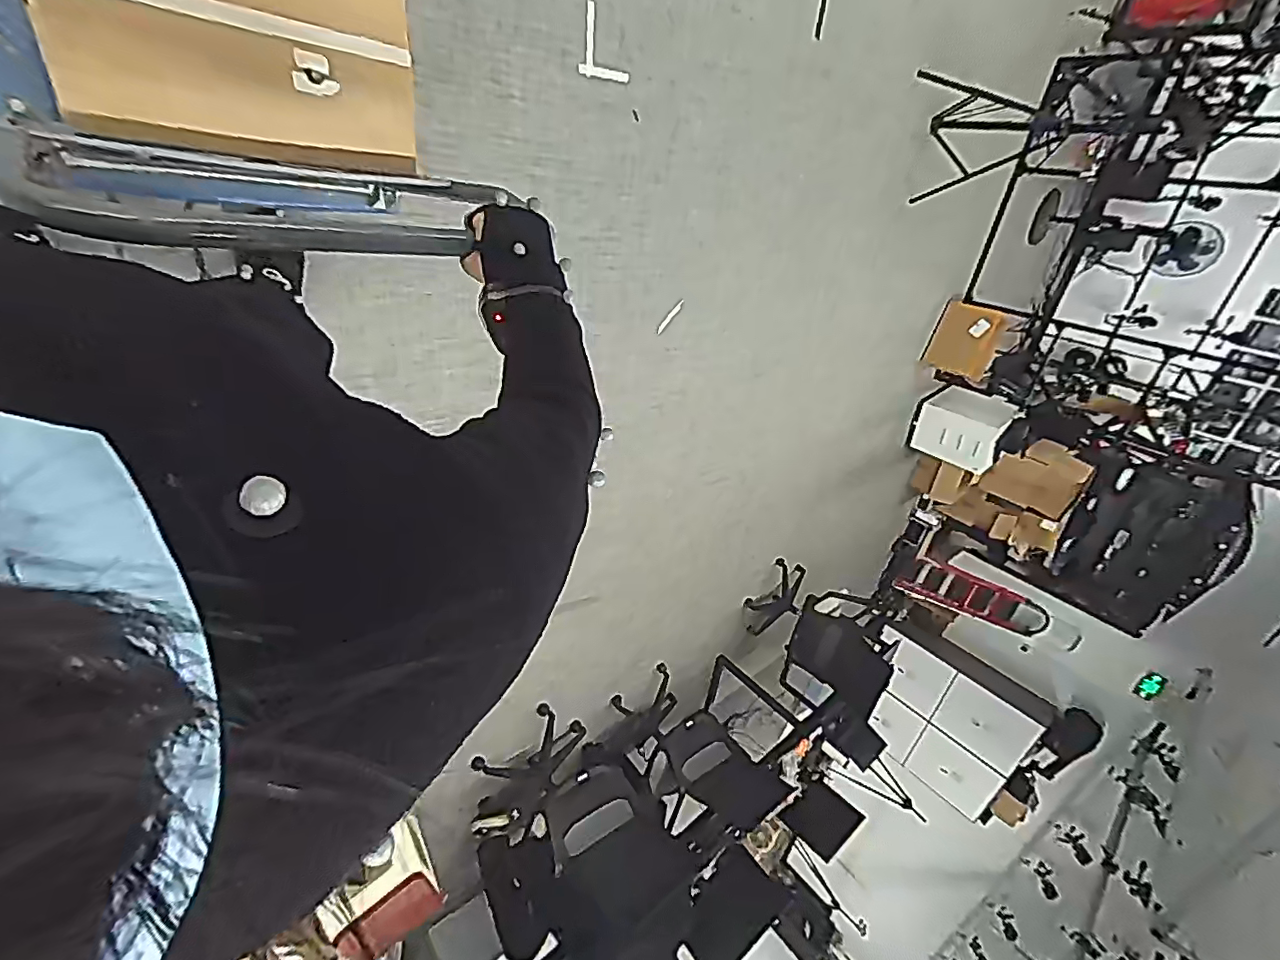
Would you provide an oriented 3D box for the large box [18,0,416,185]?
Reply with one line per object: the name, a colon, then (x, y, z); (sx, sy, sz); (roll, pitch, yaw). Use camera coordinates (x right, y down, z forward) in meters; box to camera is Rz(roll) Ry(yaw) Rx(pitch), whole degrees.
large box: (-0.590, -0.623, 0.768); (0.408, 0.320, 0.320); (-18, 128, -40)
